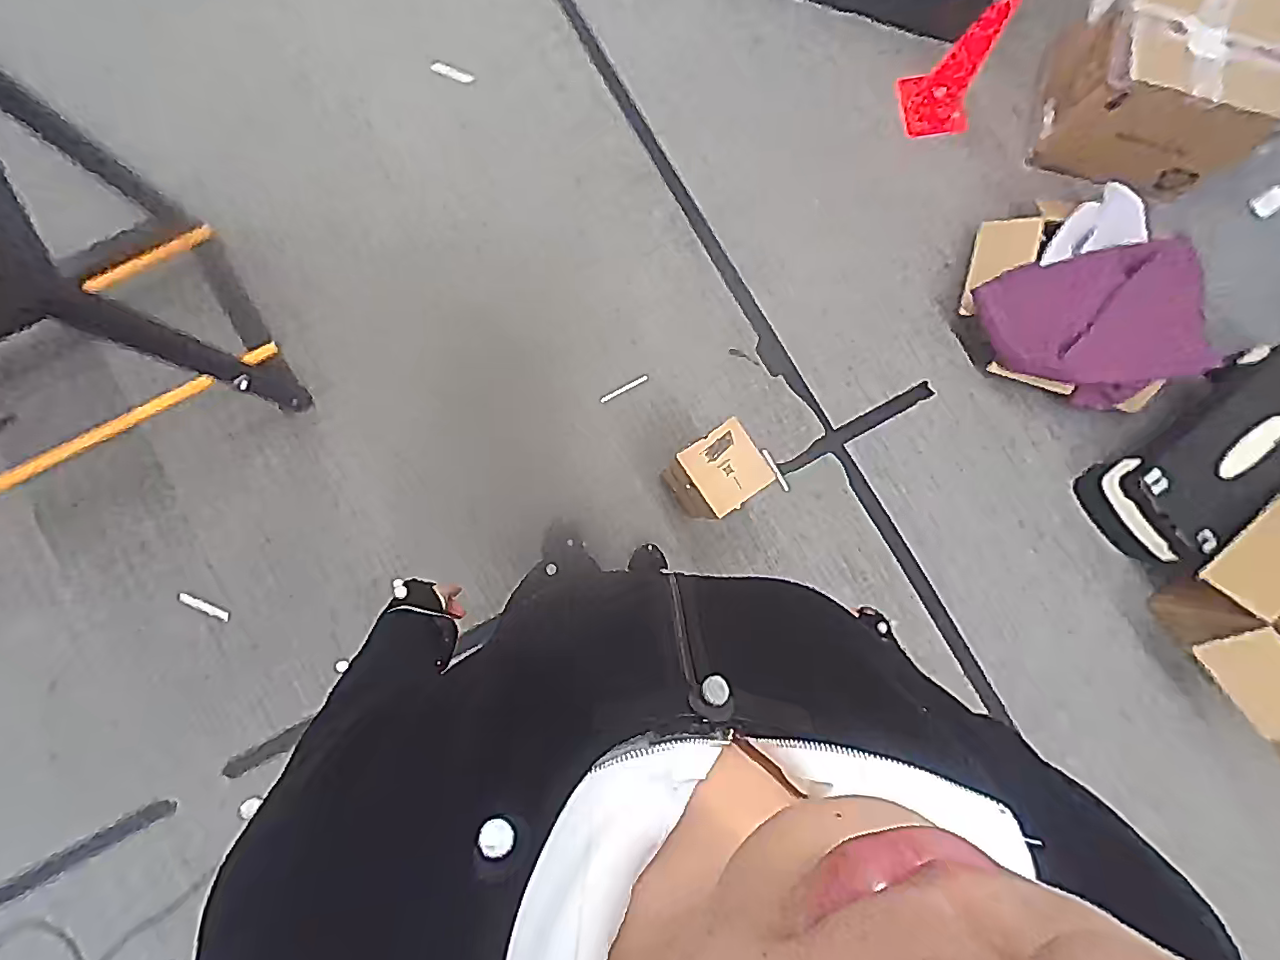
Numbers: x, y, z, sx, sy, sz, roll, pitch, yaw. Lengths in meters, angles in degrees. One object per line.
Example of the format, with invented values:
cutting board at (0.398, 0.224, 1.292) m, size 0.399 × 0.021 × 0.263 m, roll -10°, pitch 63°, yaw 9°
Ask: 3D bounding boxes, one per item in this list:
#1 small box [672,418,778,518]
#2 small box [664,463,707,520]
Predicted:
small box at (0.192, -0.020, 1.291) m, size 0.168 × 0.176 × 0.179 m, roll -34°, pitch 88°, yaw -5°
small box at (0.180, -0.008, 1.455) m, size 0.179 × 0.176 × 0.168 m, roll -36°, pitch 87°, yaw -4°
